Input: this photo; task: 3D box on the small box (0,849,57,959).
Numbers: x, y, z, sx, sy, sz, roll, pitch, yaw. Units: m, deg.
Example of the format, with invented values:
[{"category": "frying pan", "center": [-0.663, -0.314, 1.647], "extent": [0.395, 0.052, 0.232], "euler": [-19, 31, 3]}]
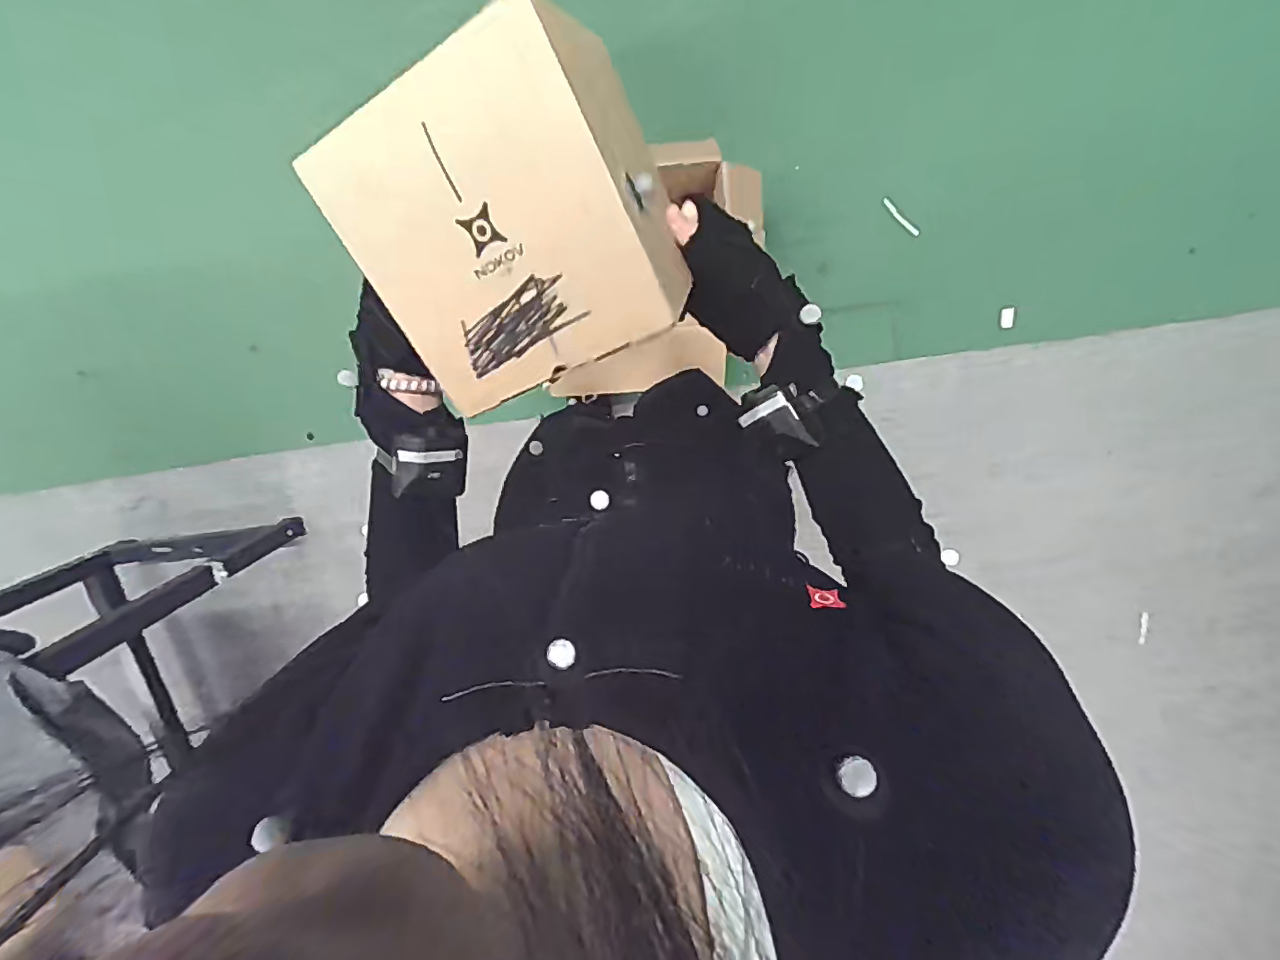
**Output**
[{"category": "small box", "center": [-1.176, 0.762, 0.913], "extent": [0.179, 0.176, 0.168], "euler": [-6, 107, 3]}]

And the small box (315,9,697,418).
[{"category": "small box", "center": [-0.066, -0.174, 0.382], "extent": [0.168, 0.176, 0.179], "euler": [-17, 117, 19]}]
